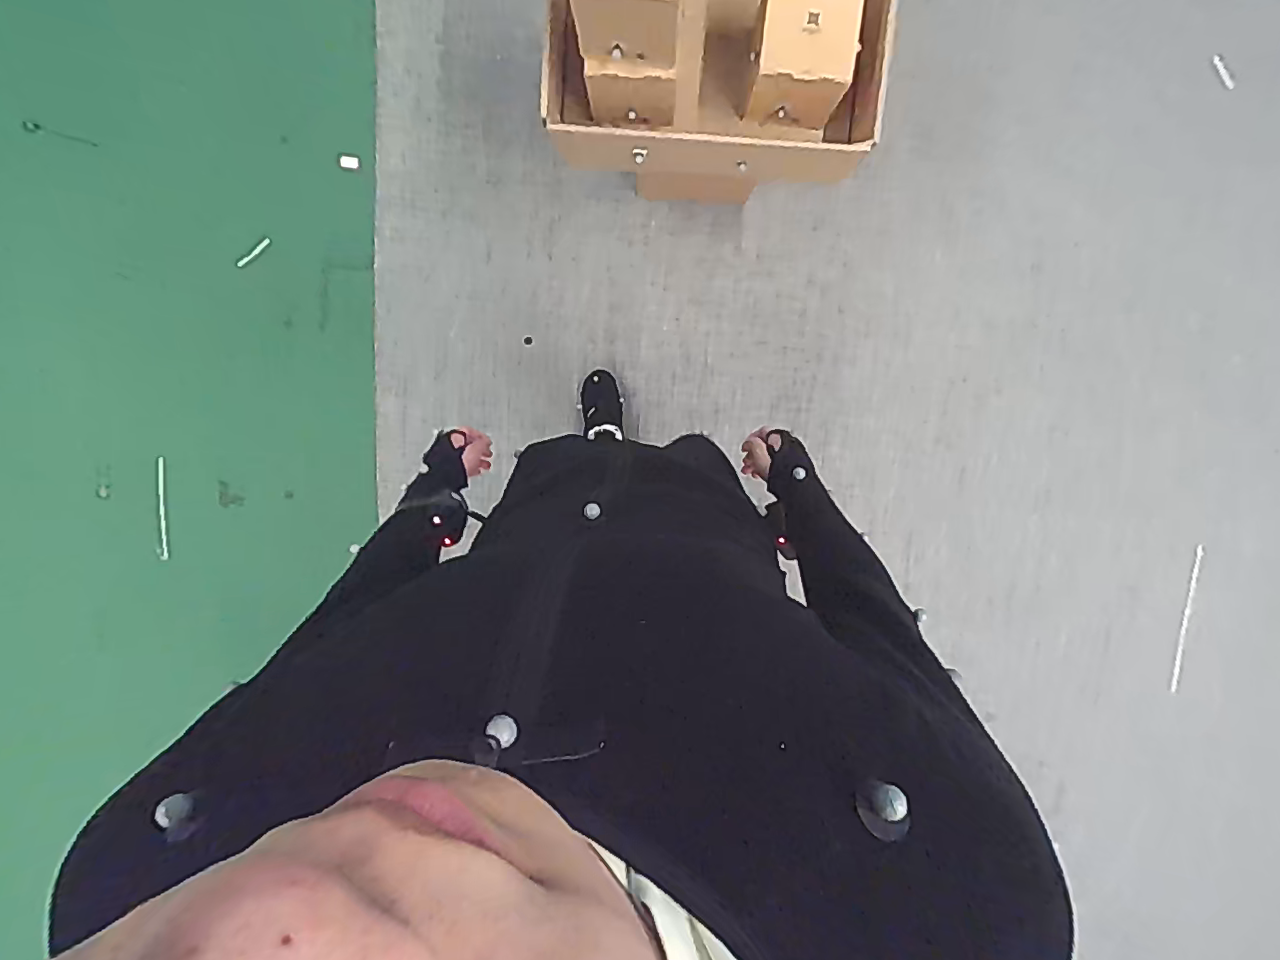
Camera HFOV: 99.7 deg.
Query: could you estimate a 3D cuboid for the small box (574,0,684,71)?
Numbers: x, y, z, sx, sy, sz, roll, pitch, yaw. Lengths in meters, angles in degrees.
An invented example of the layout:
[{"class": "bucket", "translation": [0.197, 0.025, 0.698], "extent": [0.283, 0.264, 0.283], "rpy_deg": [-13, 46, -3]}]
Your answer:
[{"class": "small box", "translation": [-0.012, -0.788, 0.839], "extent": [0.168, 0.176, 0.179], "rpy_deg": [7, 98, 0]}]
